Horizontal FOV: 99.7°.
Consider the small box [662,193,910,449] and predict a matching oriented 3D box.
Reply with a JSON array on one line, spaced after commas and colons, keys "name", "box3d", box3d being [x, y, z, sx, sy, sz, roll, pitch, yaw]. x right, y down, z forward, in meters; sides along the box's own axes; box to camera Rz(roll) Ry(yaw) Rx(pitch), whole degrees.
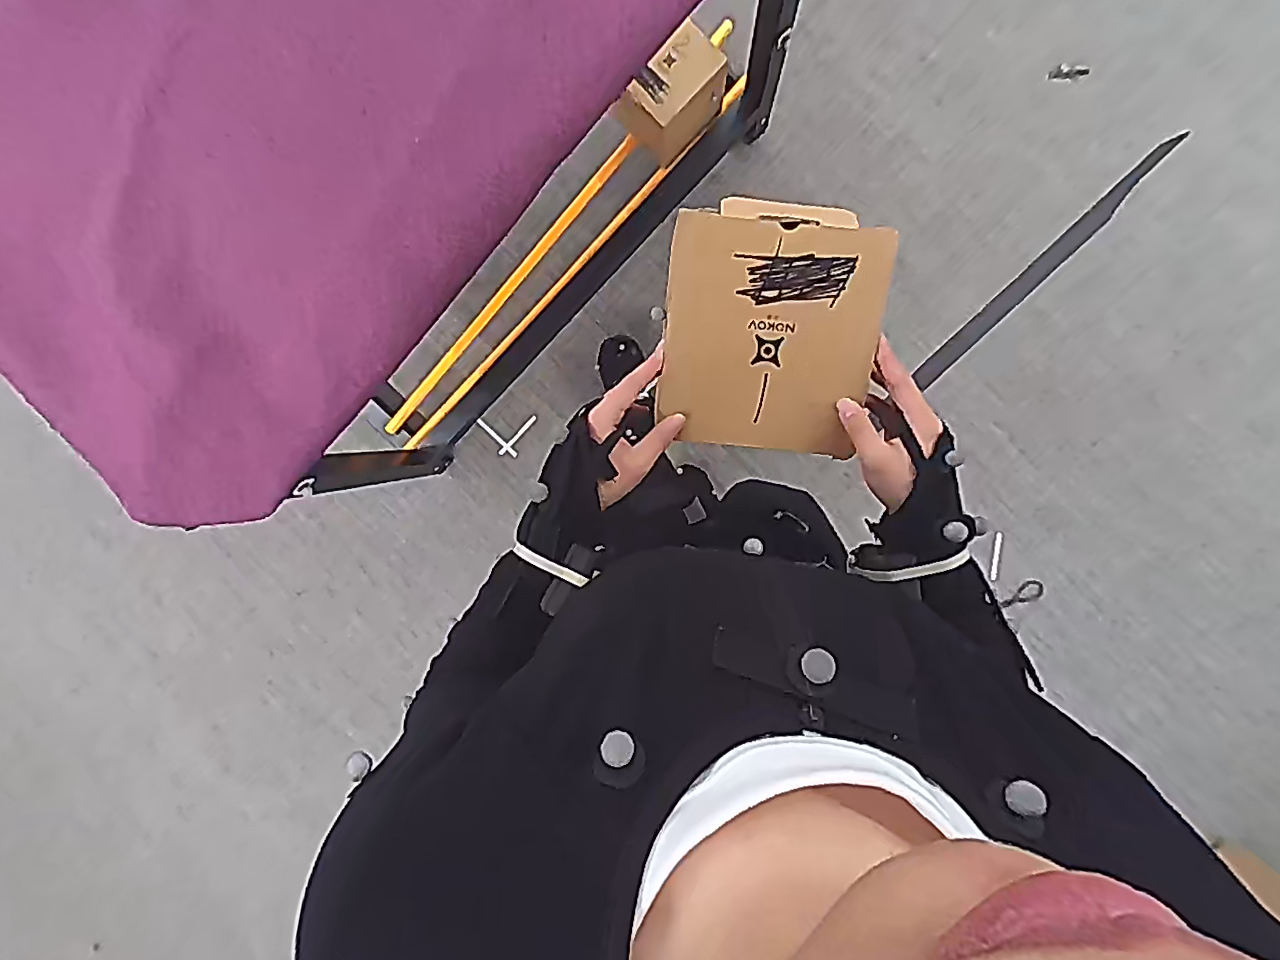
[{"name": "small box", "box3d": [0.110, -0.136, 0.490, 0.168, 0.176, 0.179, 6, 105, 0]}]
